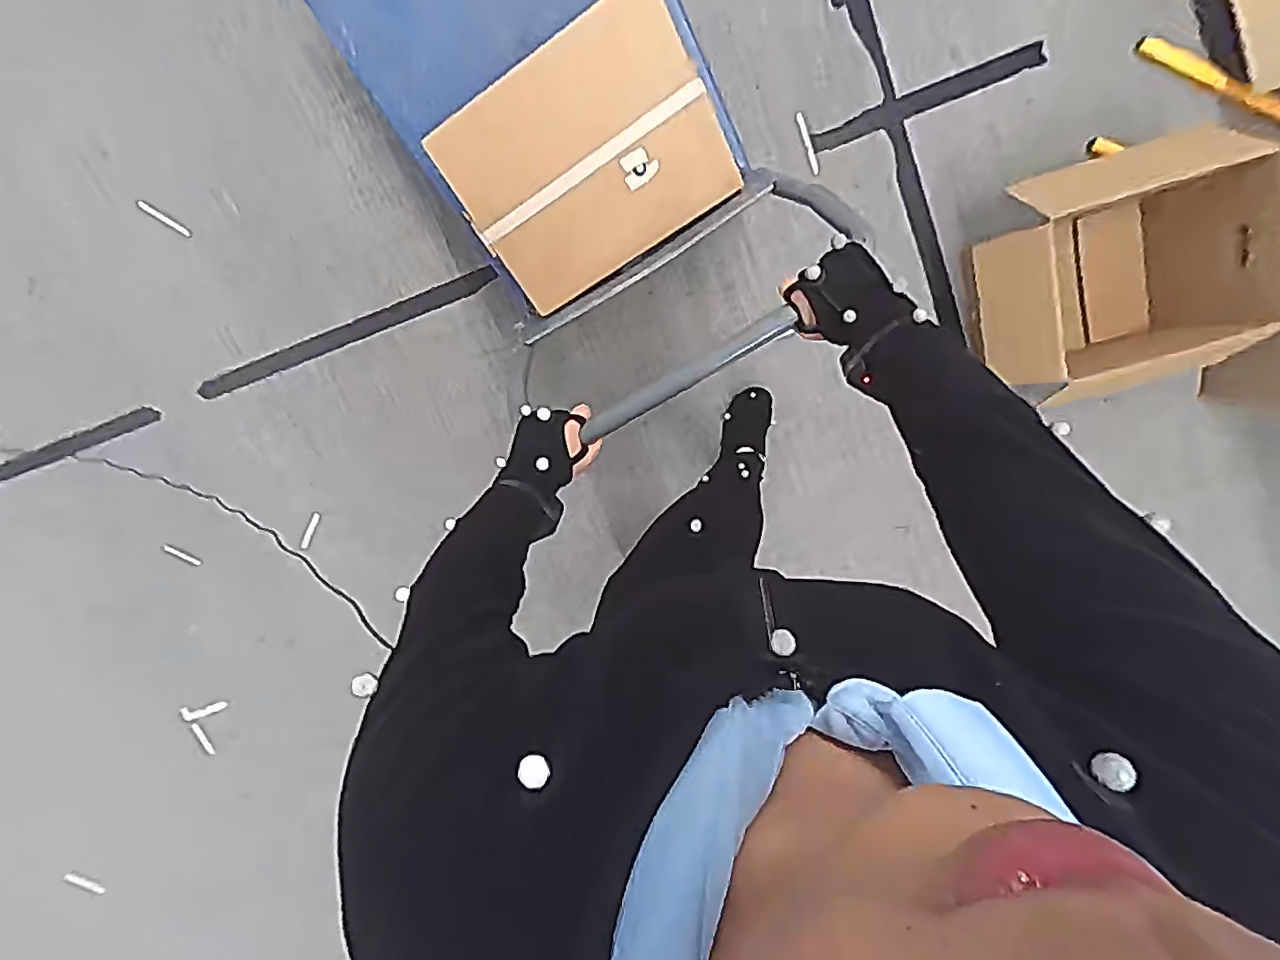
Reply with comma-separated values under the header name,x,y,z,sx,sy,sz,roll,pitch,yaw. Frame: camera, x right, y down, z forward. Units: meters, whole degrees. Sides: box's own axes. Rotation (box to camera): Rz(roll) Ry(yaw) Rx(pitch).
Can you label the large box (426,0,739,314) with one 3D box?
name,x,y,z,sx,sy,sz,roll,pitch,yaw
large box,-0.096,-0.568,0.973,0.408,0.320,0.320,-30,119,12
